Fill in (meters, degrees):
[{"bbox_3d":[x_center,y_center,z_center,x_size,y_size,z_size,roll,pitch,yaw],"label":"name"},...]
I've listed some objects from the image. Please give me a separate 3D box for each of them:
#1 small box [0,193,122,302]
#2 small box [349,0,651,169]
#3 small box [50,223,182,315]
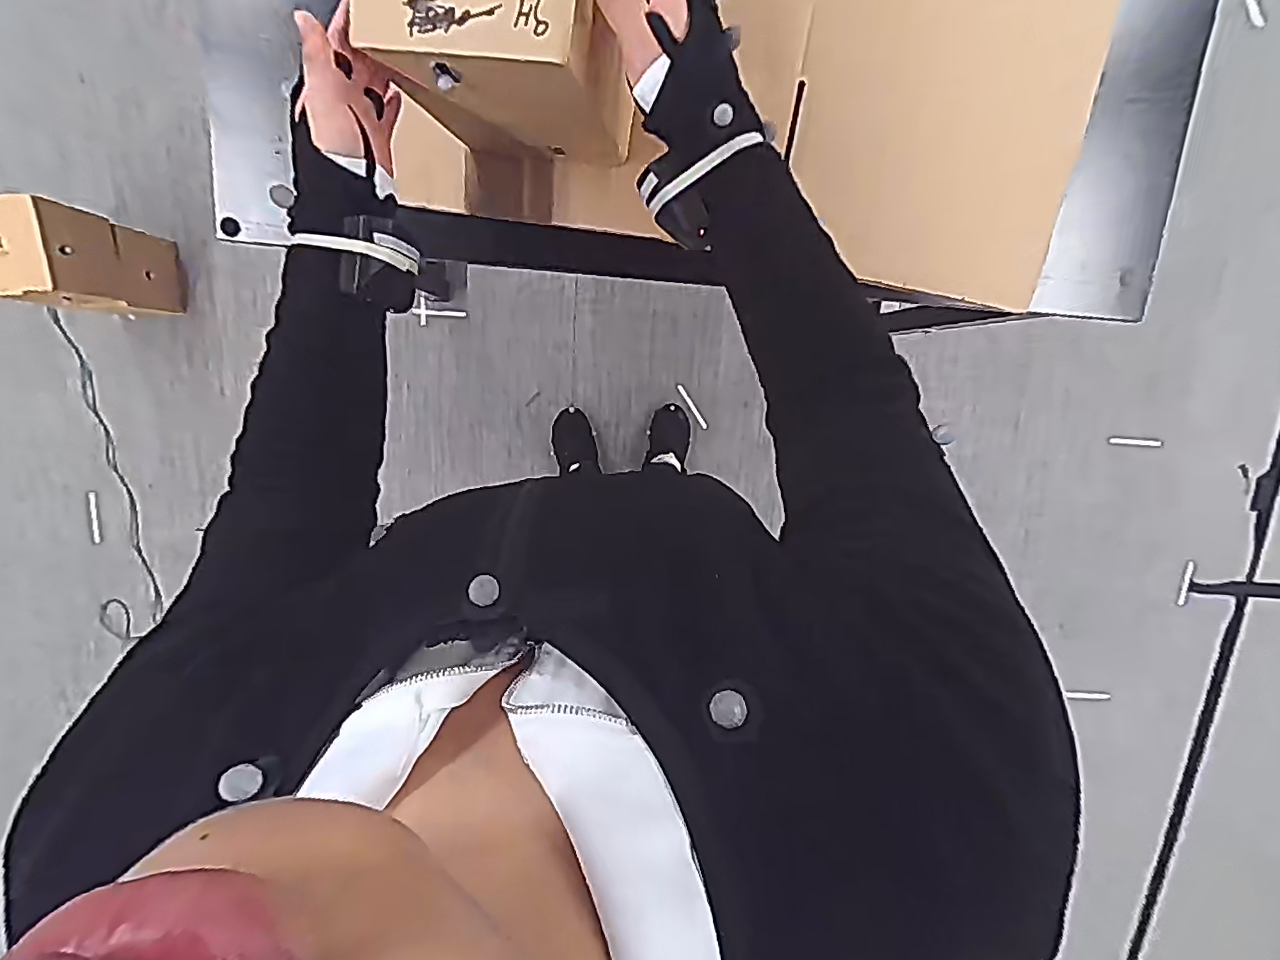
[{"bbox_3d":[-1.210,-0.458,1.091,0.168,0.176,0.179,-3,100,-3],"label":"small box"},{"bbox_3d":[-0.093,-0.380,0.426,0.168,0.176,0.179,12,100,10],"label":"small box"},{"bbox_3d":[-1.217,-0.484,1.251,0.168,0.176,0.179,0,102,-3],"label":"small box"}]
